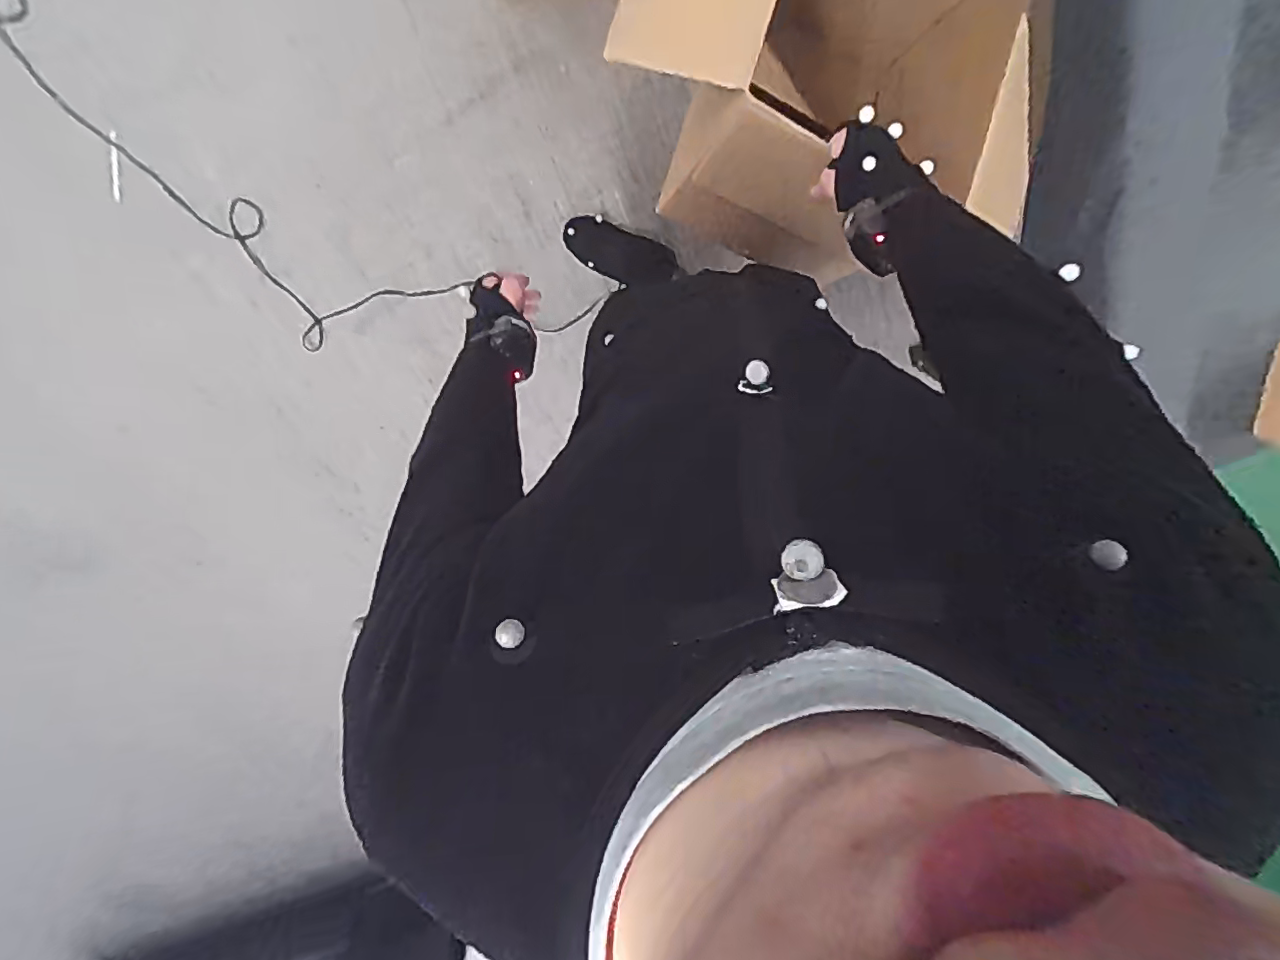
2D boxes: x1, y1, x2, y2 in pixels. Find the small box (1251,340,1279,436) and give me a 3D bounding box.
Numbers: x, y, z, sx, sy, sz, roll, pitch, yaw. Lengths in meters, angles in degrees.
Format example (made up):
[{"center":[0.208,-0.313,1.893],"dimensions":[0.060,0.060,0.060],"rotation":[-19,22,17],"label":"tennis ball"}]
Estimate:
[{"center":[1.078,-0.141,0.792],"dimensions":[0.168,0.176,0.179],"rotation":[-19,122,6],"label":"small box"}]
